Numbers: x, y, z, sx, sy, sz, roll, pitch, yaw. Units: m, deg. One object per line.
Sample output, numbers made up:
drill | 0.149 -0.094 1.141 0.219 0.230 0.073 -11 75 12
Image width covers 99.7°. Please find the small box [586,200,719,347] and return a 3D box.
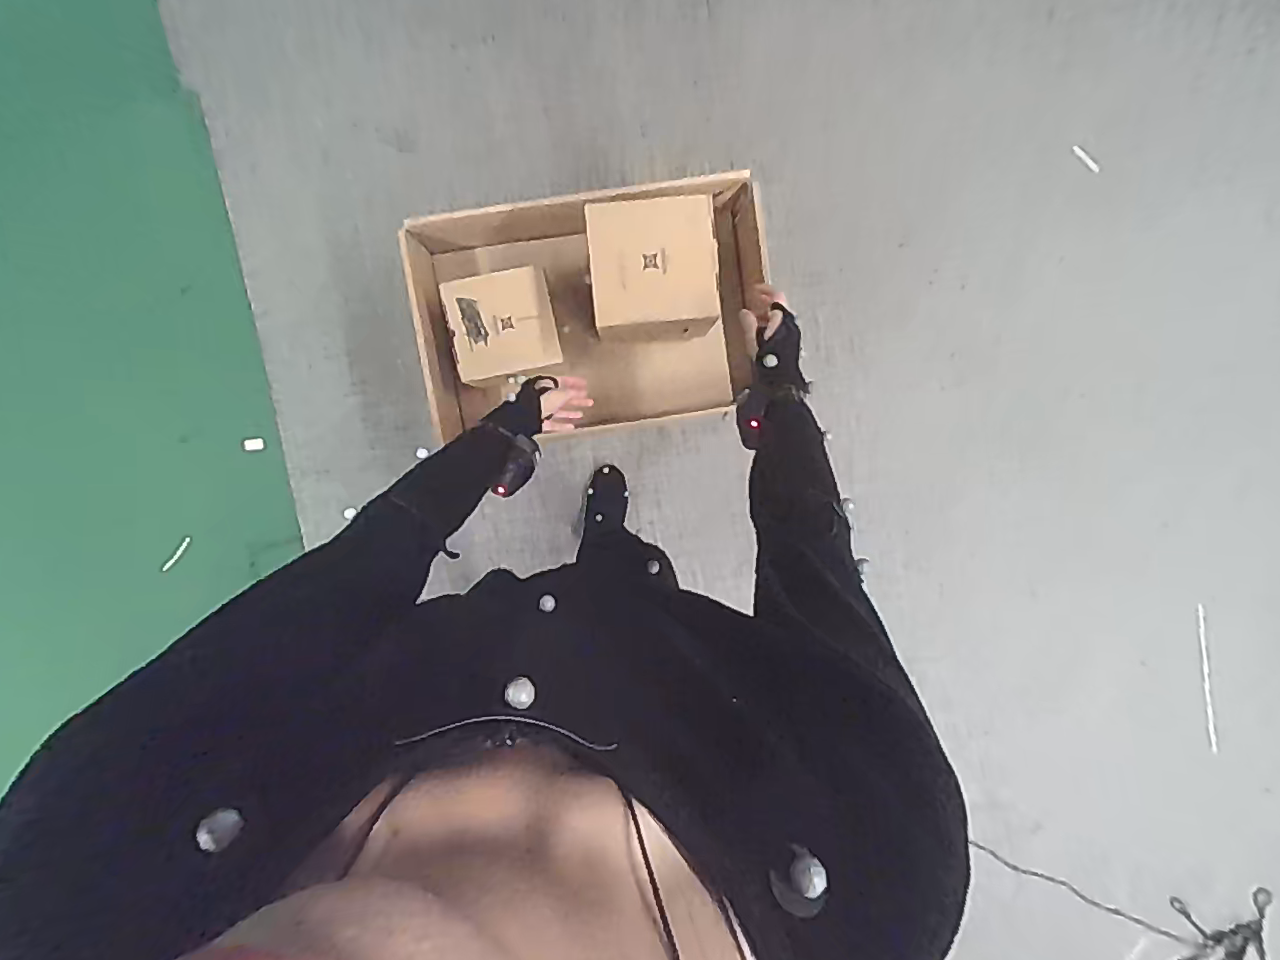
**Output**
small box | 0.017 -0.300 0.816 0.179 0.176 0.168 -4 95 0
